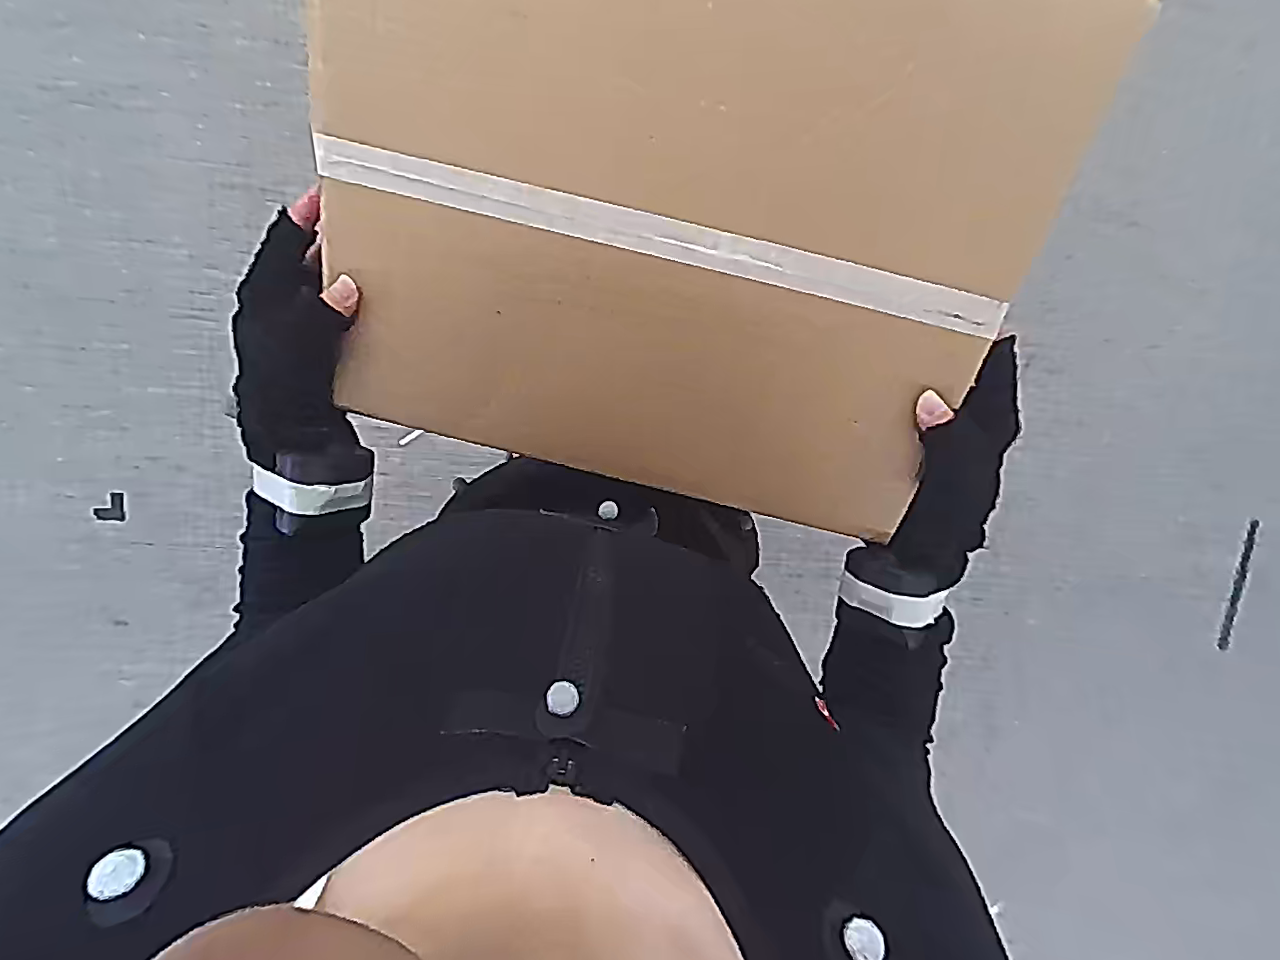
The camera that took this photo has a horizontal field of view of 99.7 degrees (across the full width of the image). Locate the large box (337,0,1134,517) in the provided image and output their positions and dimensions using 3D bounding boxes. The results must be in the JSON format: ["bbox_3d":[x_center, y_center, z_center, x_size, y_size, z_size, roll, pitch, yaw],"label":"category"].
[{"bbox_3d":[0.028,-0.211,0.456,0.408,0.320,0.320,14,117,-1],"label":"large box"}]
